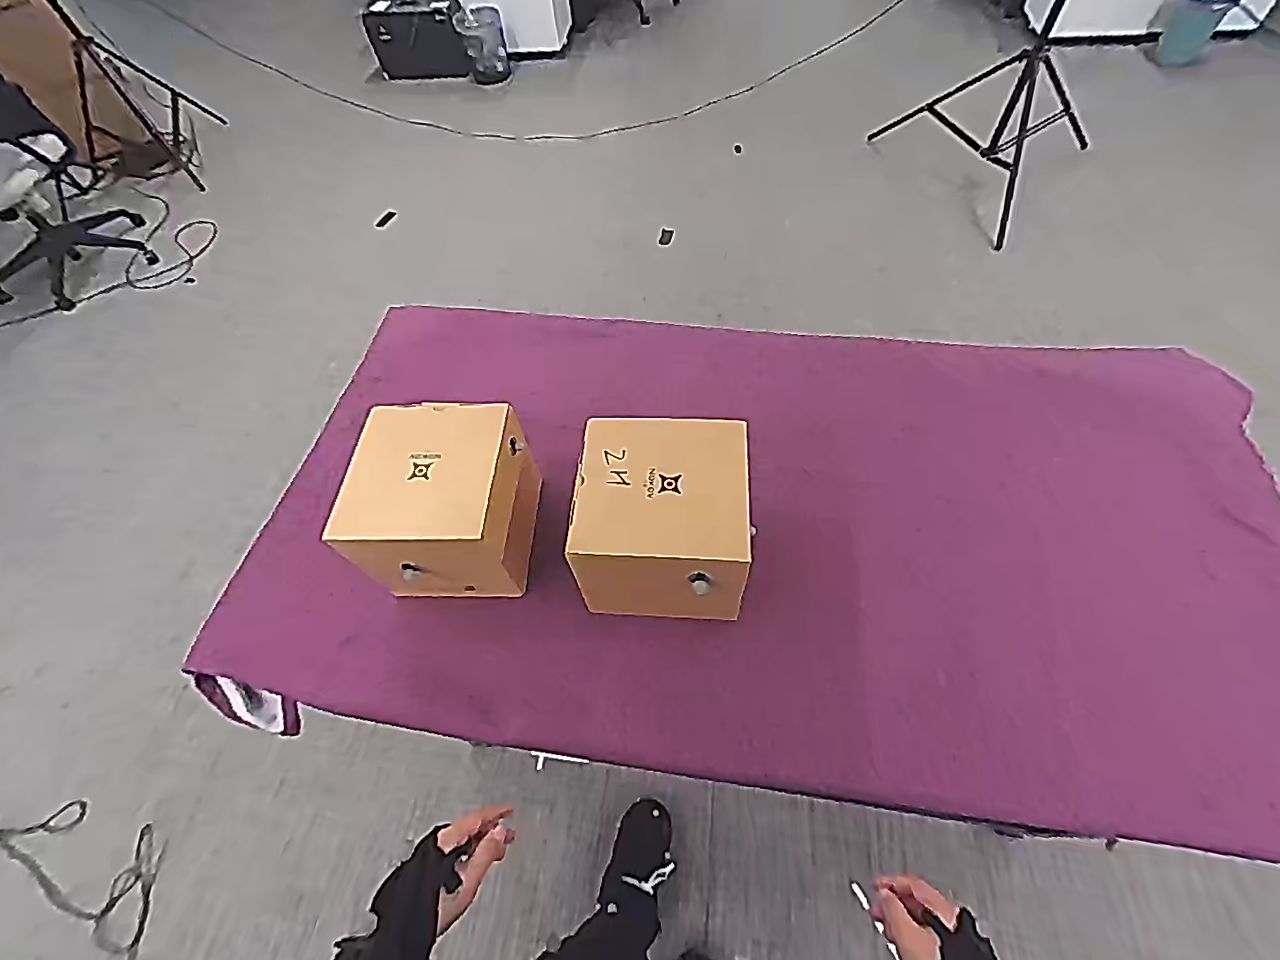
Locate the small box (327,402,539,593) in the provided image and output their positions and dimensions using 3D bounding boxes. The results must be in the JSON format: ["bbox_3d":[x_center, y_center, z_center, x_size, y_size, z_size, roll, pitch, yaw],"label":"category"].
[{"bbox_3d":[-0.226,0.028,0.648,0.168,0.176,0.179,-1,57,4],"label":"small box"}]

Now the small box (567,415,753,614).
[{"bbox_3d":[0.027,0.045,0.612,0.179,0.176,0.168,1,57,5],"label":"small box"}]
